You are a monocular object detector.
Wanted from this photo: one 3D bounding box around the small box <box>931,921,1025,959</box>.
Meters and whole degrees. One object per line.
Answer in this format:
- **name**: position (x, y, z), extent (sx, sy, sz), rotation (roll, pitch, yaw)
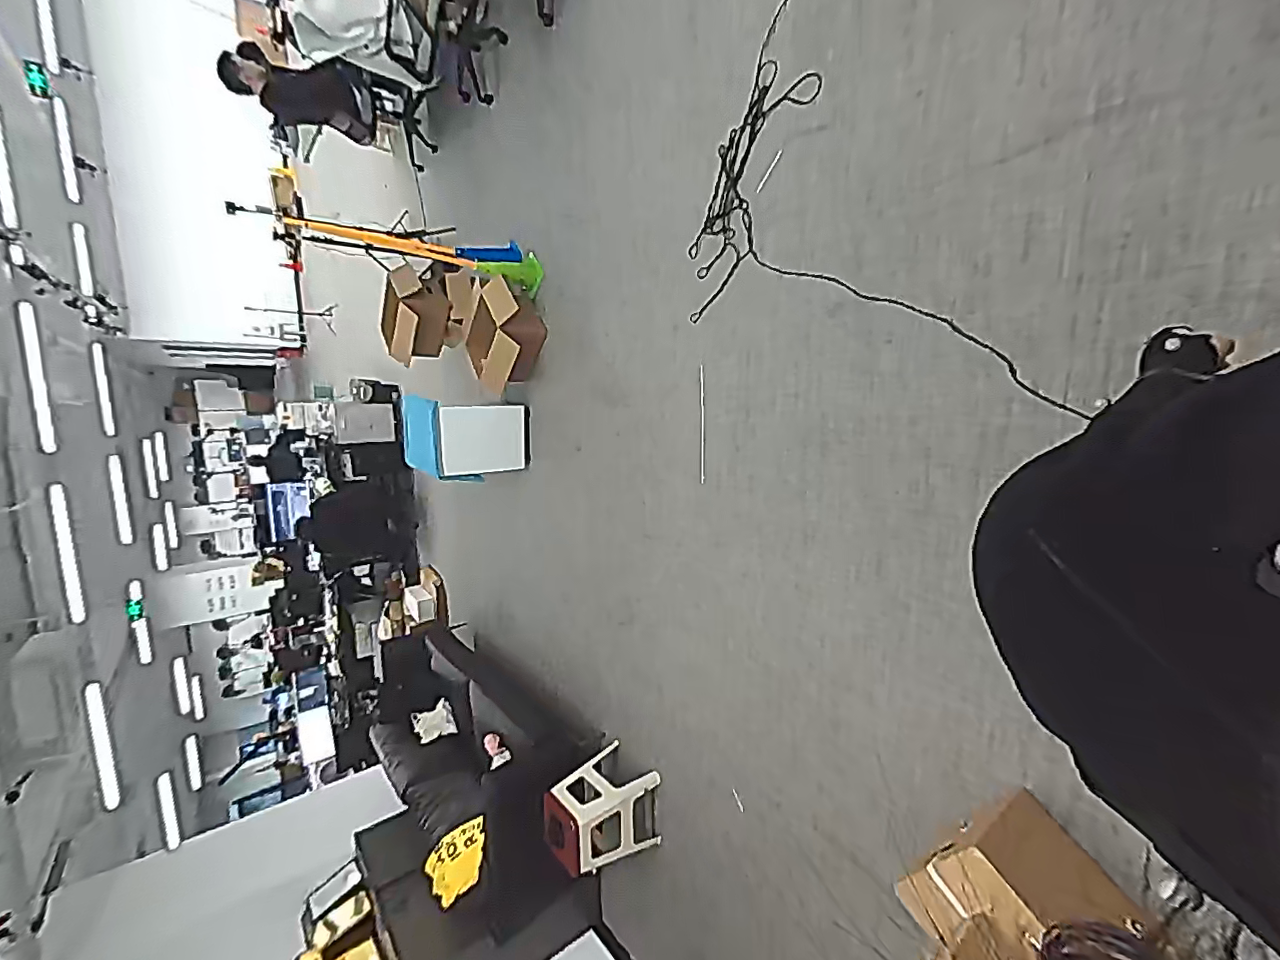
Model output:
- **small box**: position (0.729, 1.084, 1.143), extent (0.179, 0.176, 0.168), rotation (48, 132, 37)
